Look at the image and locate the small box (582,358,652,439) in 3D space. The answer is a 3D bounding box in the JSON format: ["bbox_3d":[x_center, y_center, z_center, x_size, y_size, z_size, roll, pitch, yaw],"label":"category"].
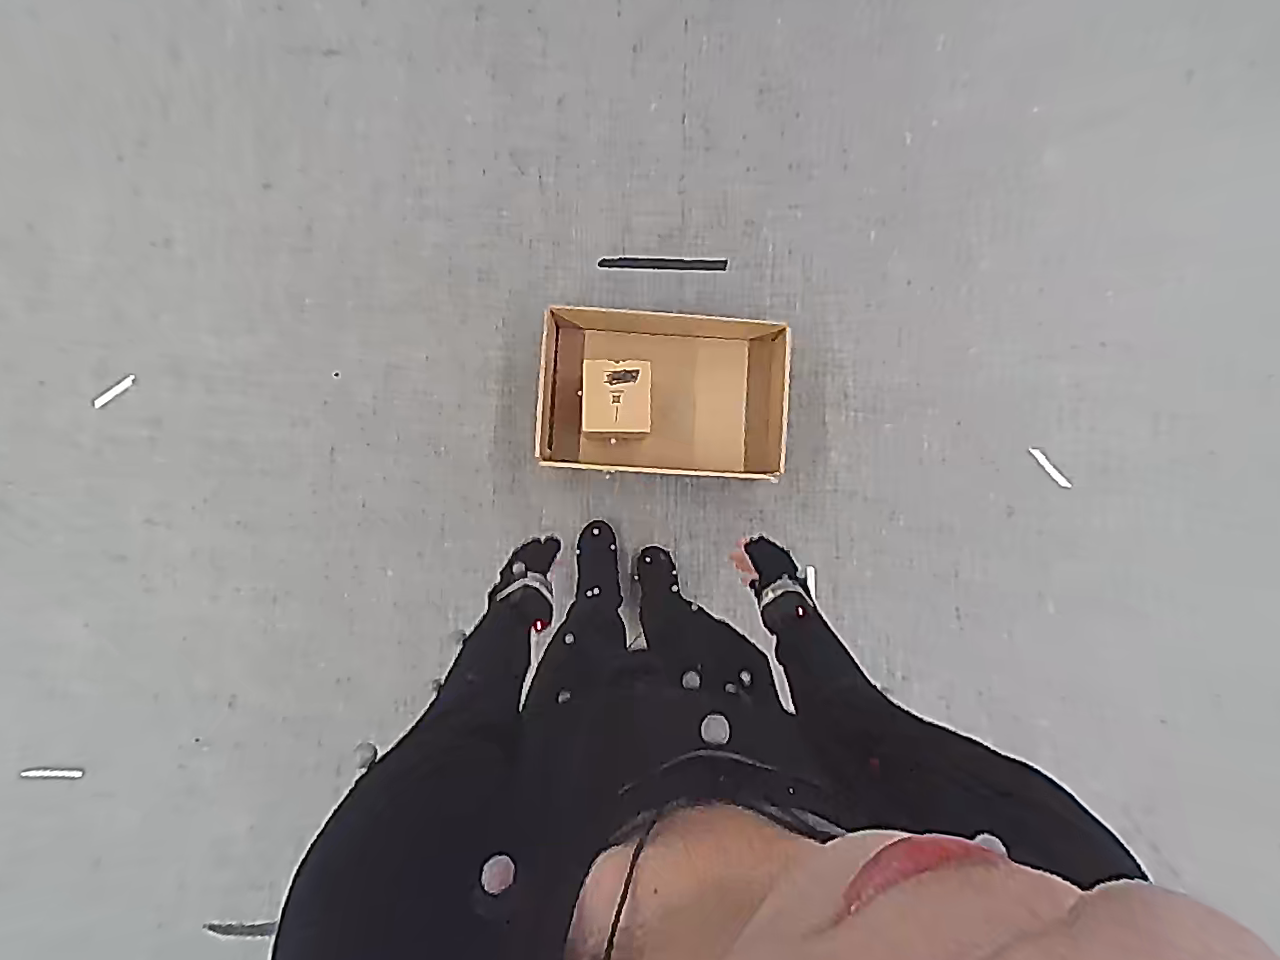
[{"bbox_3d":[-0.061,-0.202,1.375,0.168,0.176,0.179,1,88,-3],"label":"small box"}]
